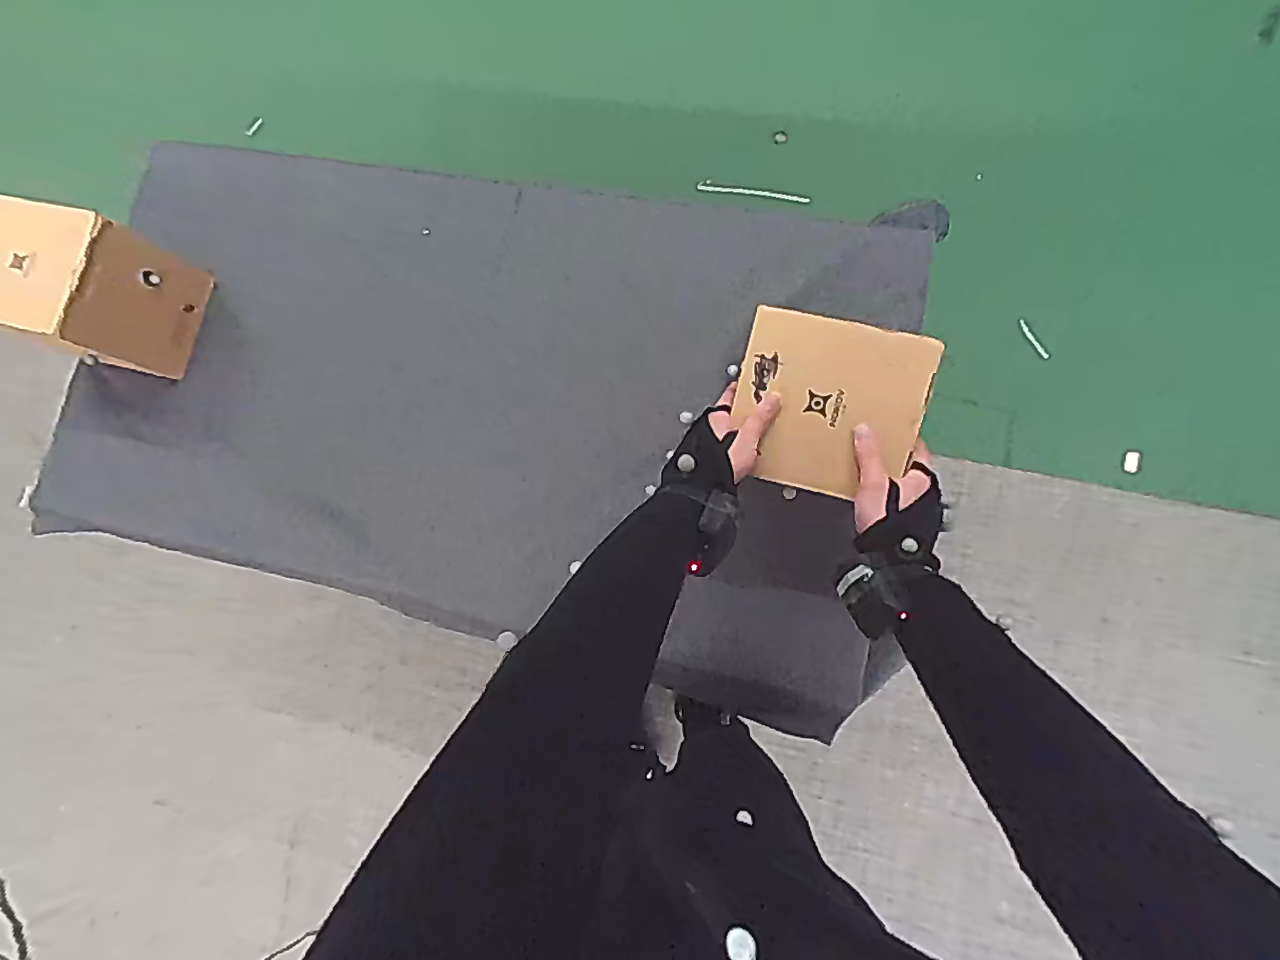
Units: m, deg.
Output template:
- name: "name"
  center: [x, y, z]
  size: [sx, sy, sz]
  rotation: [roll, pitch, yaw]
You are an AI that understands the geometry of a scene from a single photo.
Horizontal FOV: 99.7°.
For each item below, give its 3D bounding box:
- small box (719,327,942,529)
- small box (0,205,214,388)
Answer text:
- name: "small box"
  center: [0.195, -0.056, 0.604]
  size: [0.179, 0.176, 0.168]
  rotation: [15, 95, 10]
- name: "small box"
  center: [-0.752, -0.240, 0.747]
  size: [0.179, 0.176, 0.168]
  rotation: [14, 81, 9]
